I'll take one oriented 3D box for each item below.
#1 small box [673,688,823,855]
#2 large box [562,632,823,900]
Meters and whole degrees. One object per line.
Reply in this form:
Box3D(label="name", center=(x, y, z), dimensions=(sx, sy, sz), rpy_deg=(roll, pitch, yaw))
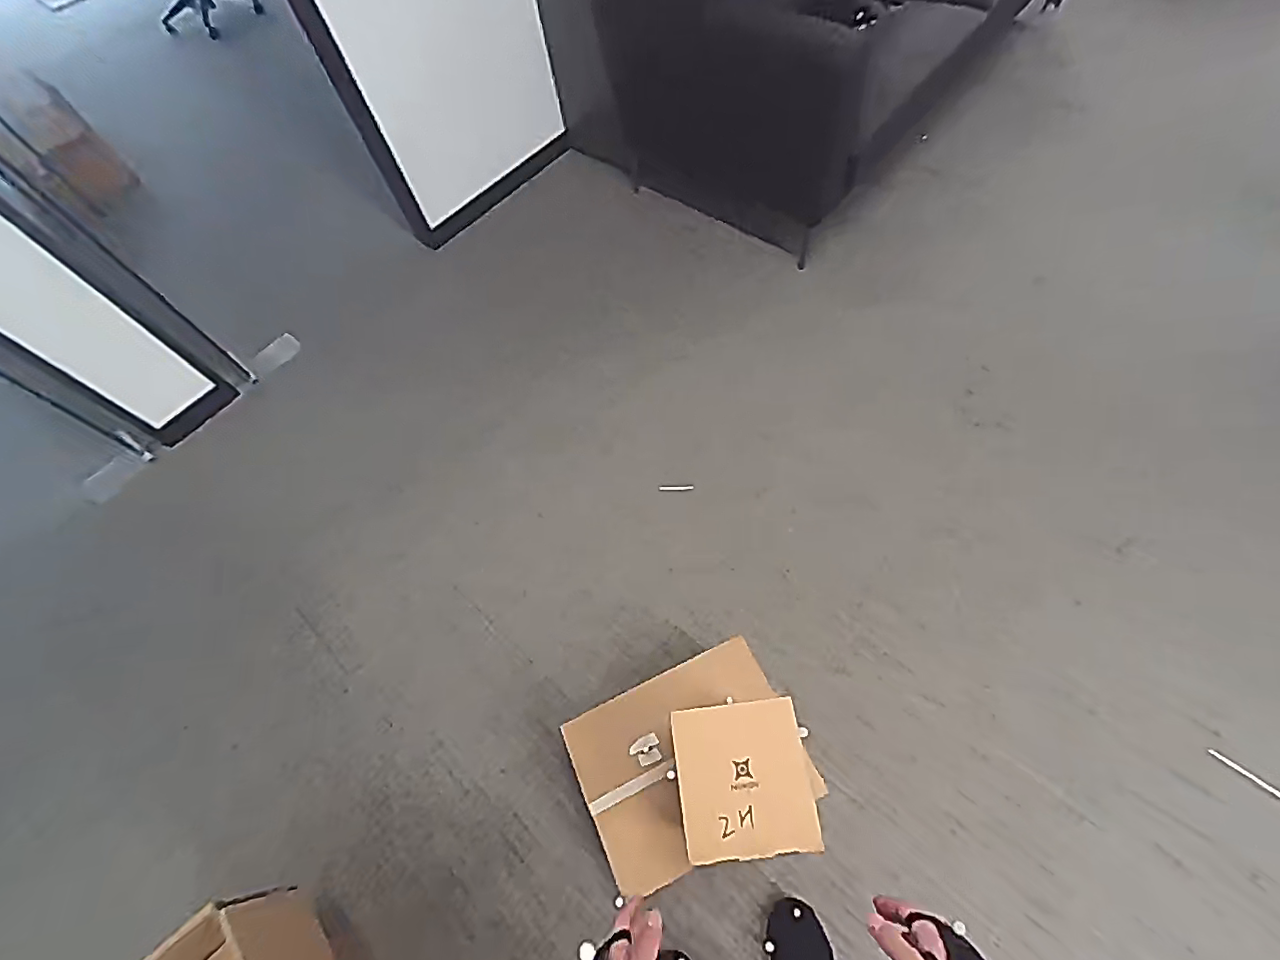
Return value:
Box3D(label="small box", center=(0.137, 0.399, 0.753), dimensions=(0.168, 0.176, 0.179), rpy_deg=(-8, 64, 2))
Box3D(label="large box", center=(0.104, 0.573, 1.132), dimensions=(0.408, 0.320, 0.320), rpy_deg=(-25, 62, -6))
